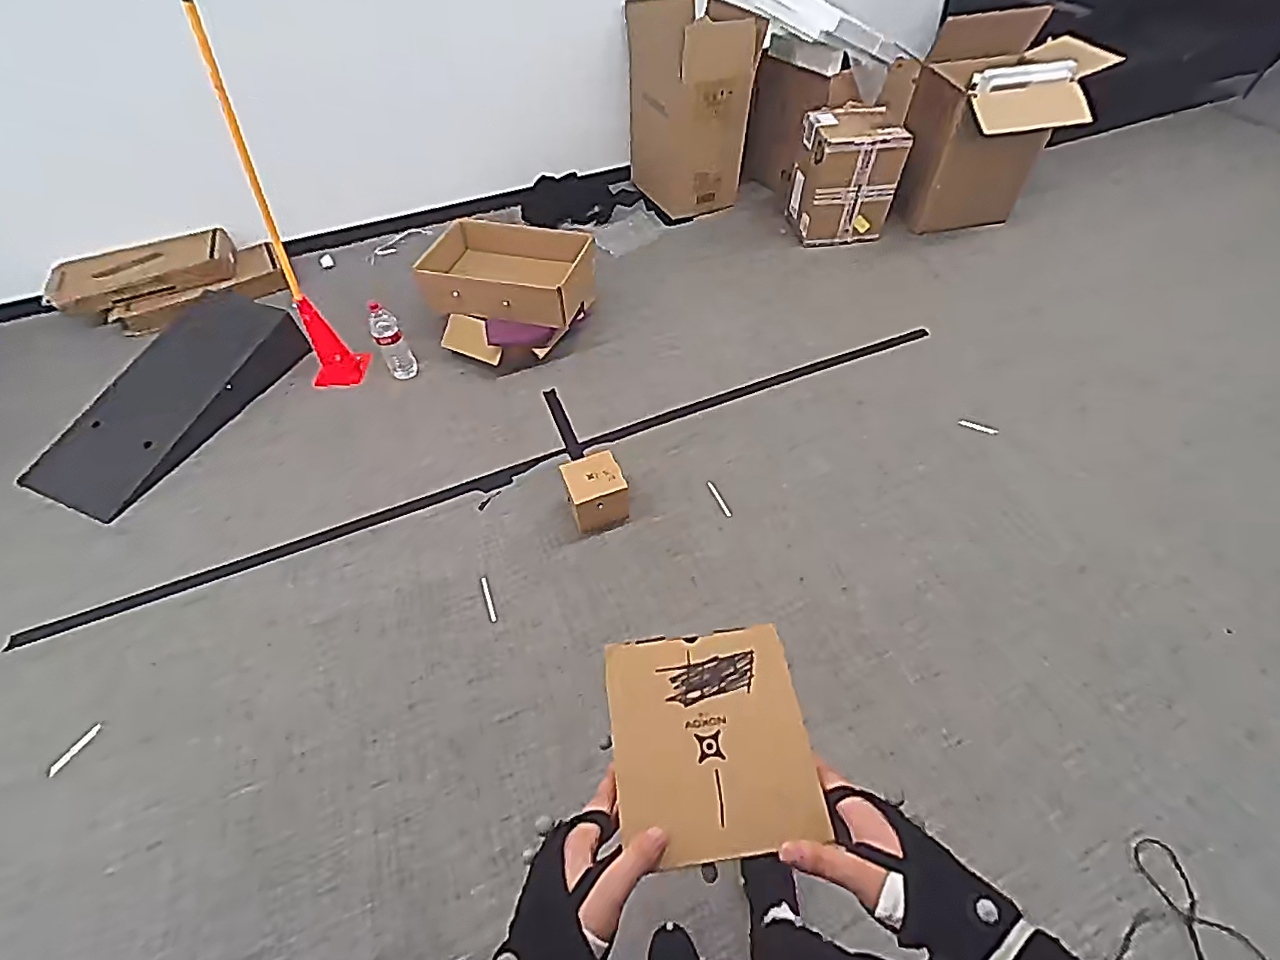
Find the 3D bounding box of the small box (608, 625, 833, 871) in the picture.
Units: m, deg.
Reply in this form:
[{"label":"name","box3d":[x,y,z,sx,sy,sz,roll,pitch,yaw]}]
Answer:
[{"label":"small box","box3d":[0.058,0.261,0.523,0.168,0.176,0.179,-6,56,-5]}]

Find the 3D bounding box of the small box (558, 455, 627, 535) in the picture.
[{"label":"small box","box3d":[-0.149,0.052,1.746,0.179,0.176,0.168,-18,55,-13]}]
